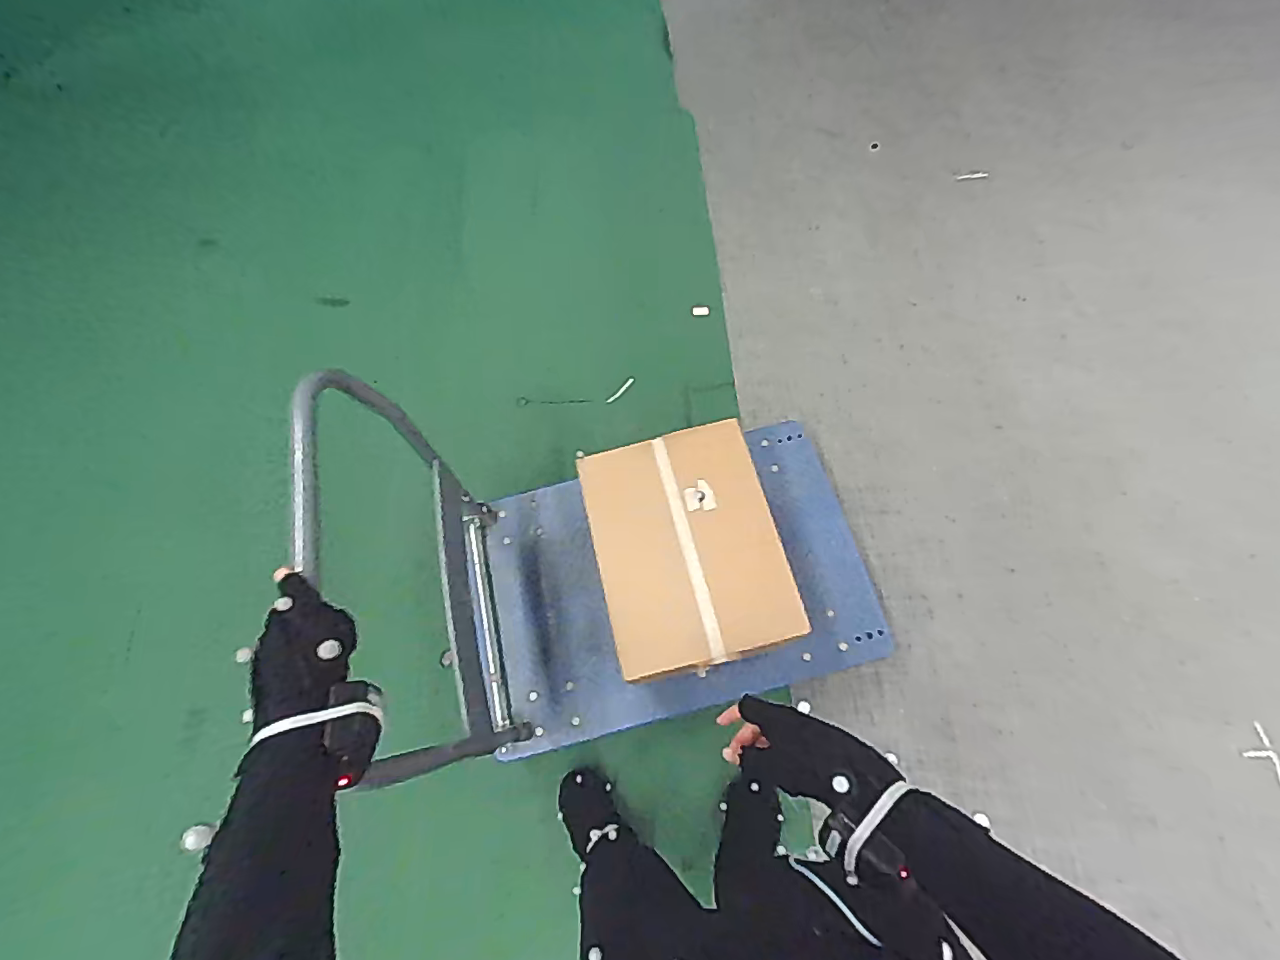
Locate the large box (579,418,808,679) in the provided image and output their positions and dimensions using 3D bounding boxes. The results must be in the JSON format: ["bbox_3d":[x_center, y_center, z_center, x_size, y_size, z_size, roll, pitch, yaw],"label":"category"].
[{"bbox_3d":[0.095,0.152,1.087,0.320,0.320,0.408,-14,67,-1],"label":"large box"}]
